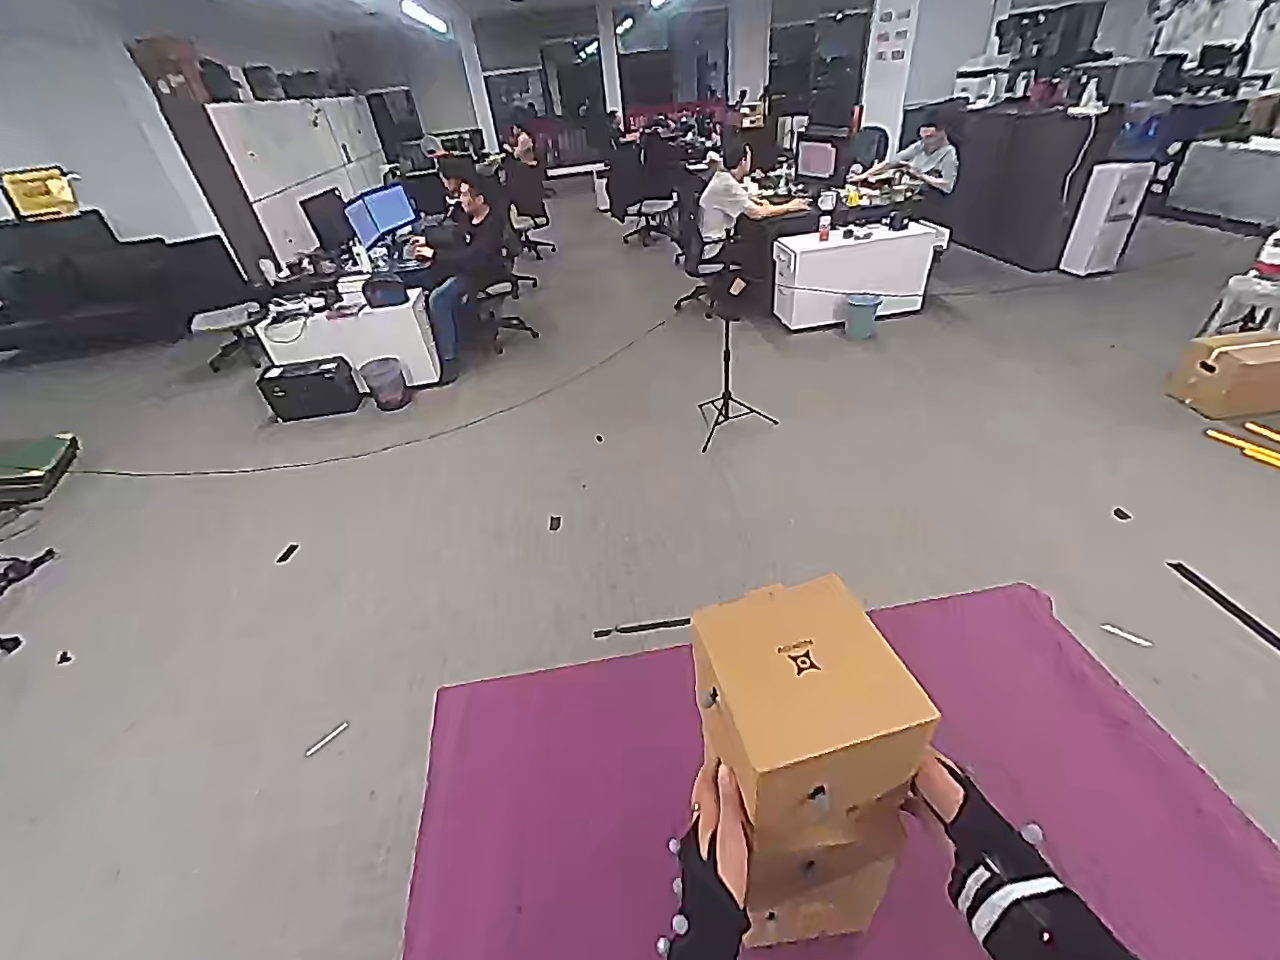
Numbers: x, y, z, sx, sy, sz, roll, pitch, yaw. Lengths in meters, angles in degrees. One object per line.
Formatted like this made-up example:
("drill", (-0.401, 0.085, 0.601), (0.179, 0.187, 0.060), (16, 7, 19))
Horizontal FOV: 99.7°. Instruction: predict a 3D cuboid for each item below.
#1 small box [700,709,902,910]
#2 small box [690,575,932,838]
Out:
("small box", (0.174, 0.373, 0.636), (0.179, 0.176, 0.168), (-8, 37, -1))
("small box", (0.159, 0.232, 0.553), (0.168, 0.176, 0.179), (-13, 35, -7))
